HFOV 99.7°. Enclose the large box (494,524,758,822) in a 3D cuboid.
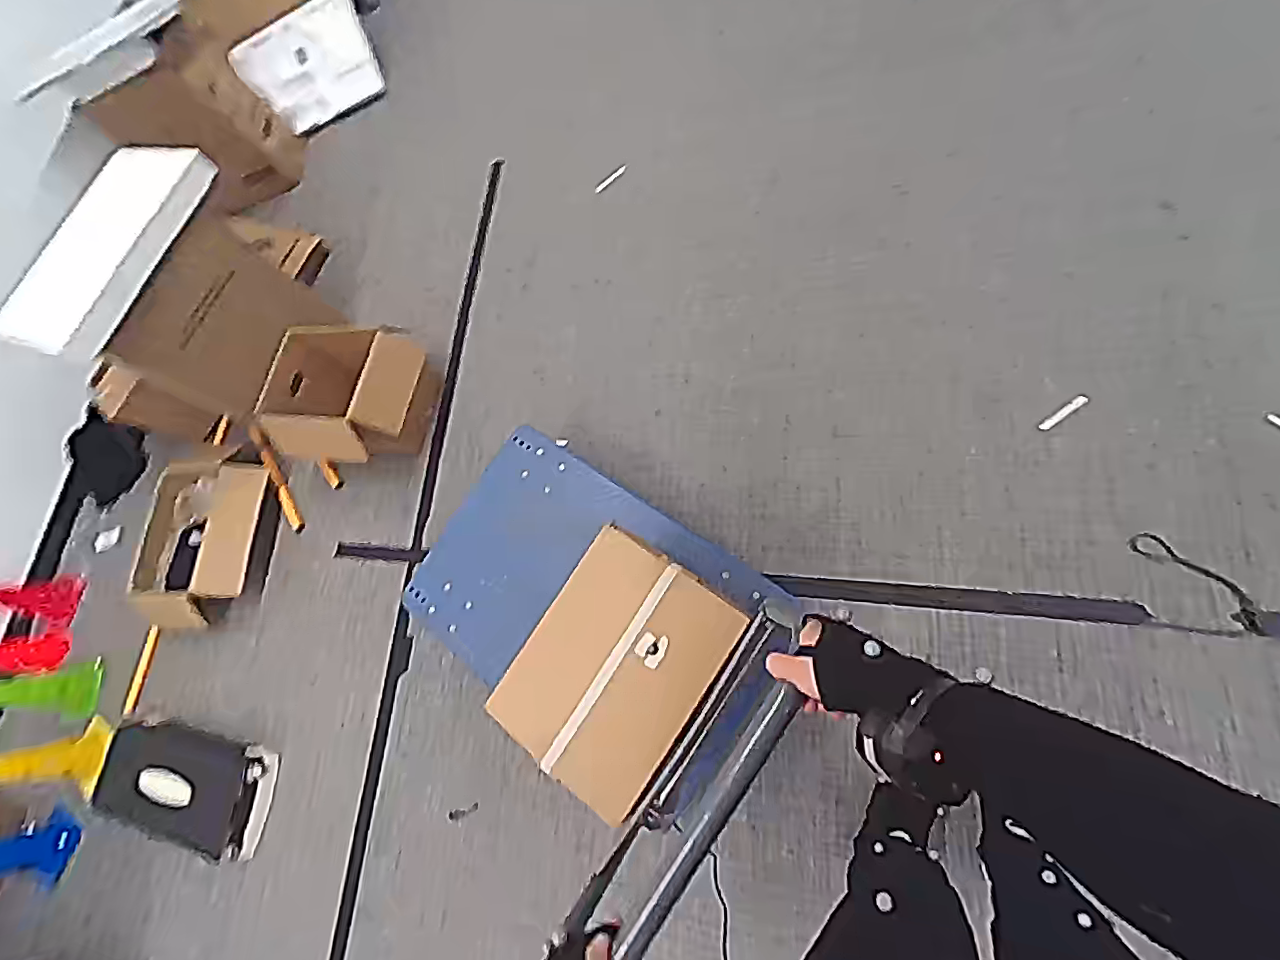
[{"bbox_3d":[-0.005,0.361,1.084,0.320,0.320,0.408,32,85,21],"label":"large box"}]
